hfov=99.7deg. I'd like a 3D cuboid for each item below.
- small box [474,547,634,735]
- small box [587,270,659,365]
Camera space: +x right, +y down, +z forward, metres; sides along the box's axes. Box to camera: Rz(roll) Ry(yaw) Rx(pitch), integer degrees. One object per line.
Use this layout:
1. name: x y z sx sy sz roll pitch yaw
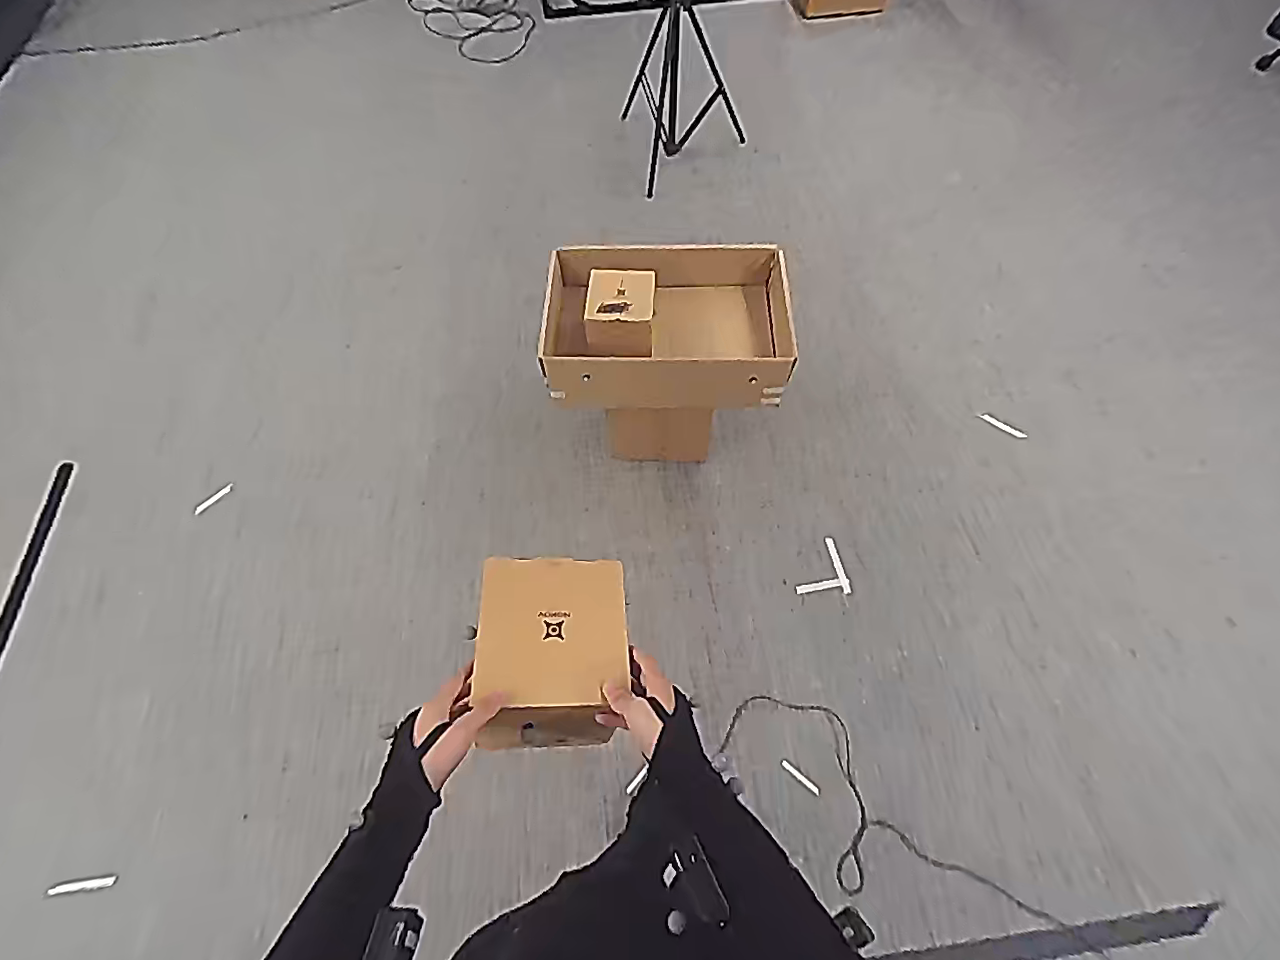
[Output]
1. small box: -0.104 0.202 0.660 0.168 0.176 0.179 3 50 -11
2. small box: -0.036 -0.415 1.399 0.168 0.176 0.179 3 62 3
